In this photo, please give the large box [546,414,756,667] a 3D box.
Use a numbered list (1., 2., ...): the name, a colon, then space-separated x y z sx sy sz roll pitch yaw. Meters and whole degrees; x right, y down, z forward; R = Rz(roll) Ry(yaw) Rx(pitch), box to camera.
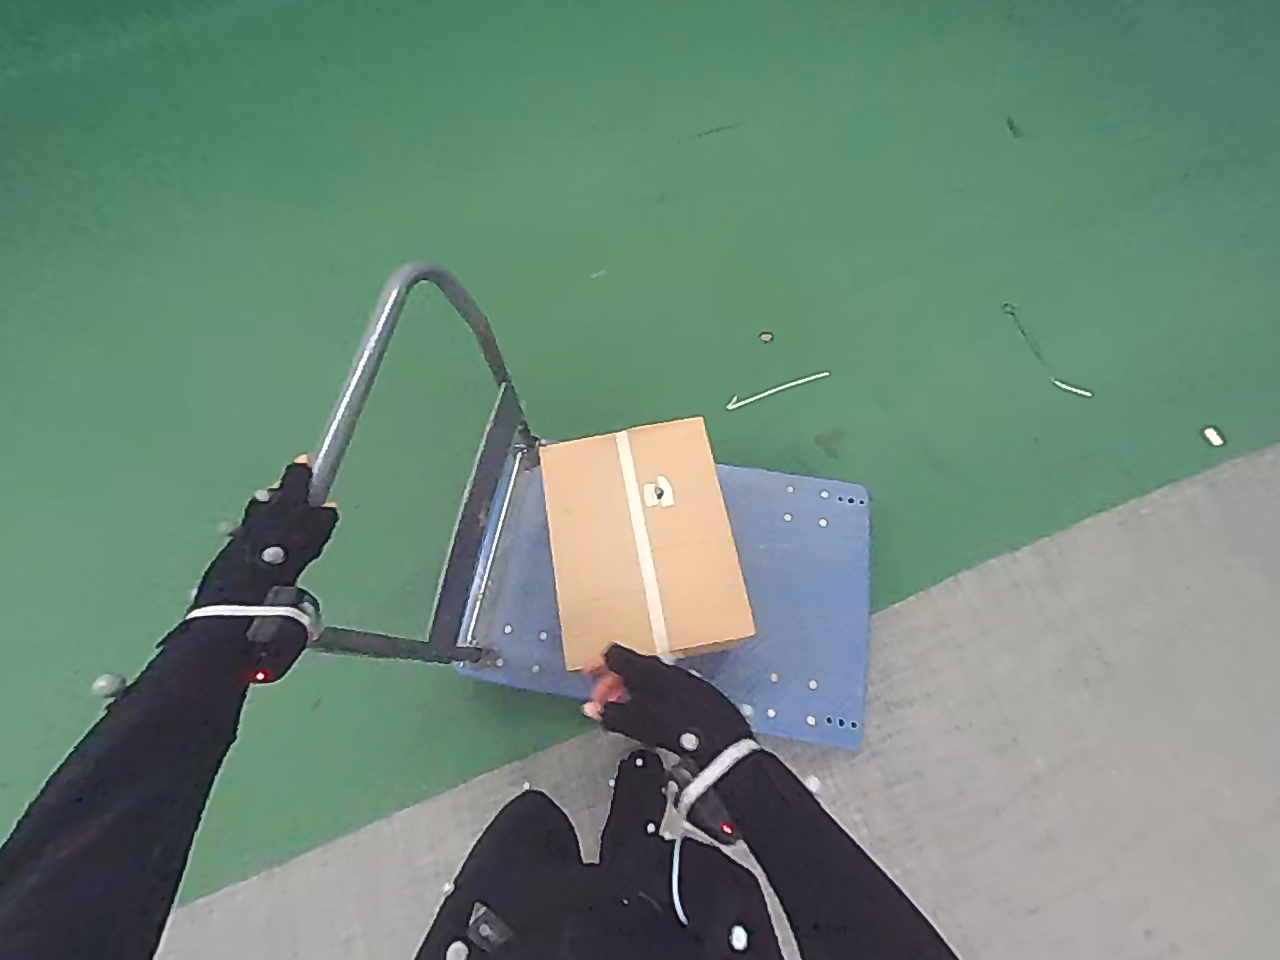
1. large box: 0.015 0.136 1.082 0.320 0.320 0.408 -9 69 -1
